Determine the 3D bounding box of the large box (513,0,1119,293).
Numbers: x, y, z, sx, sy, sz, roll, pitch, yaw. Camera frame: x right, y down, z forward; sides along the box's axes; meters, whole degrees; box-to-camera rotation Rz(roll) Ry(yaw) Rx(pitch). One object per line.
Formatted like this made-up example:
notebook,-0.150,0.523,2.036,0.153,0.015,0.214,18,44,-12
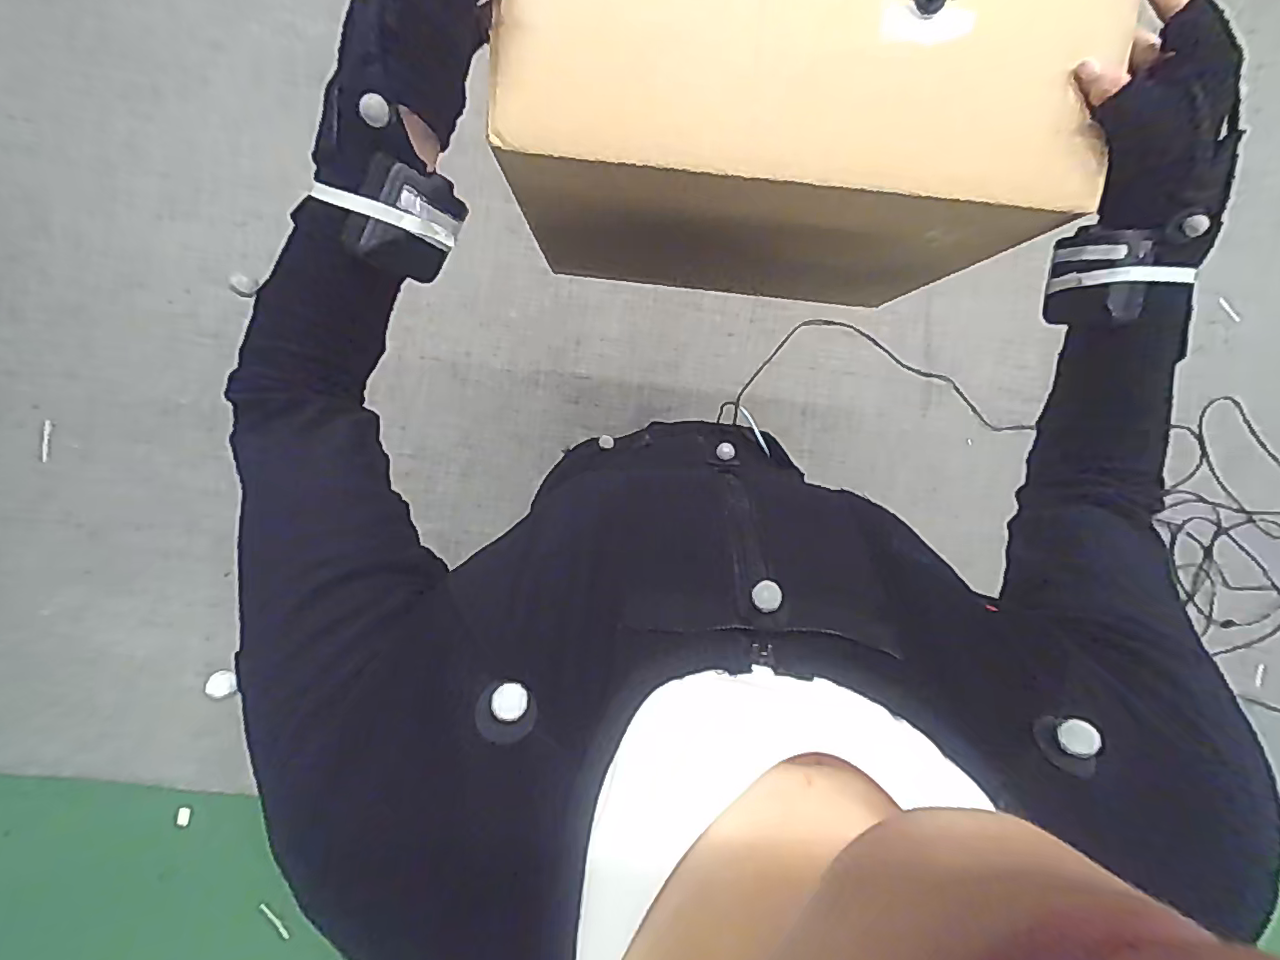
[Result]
large box,0.114,-0.375,0.495,0.408,0.320,0.320,4,97,-3
